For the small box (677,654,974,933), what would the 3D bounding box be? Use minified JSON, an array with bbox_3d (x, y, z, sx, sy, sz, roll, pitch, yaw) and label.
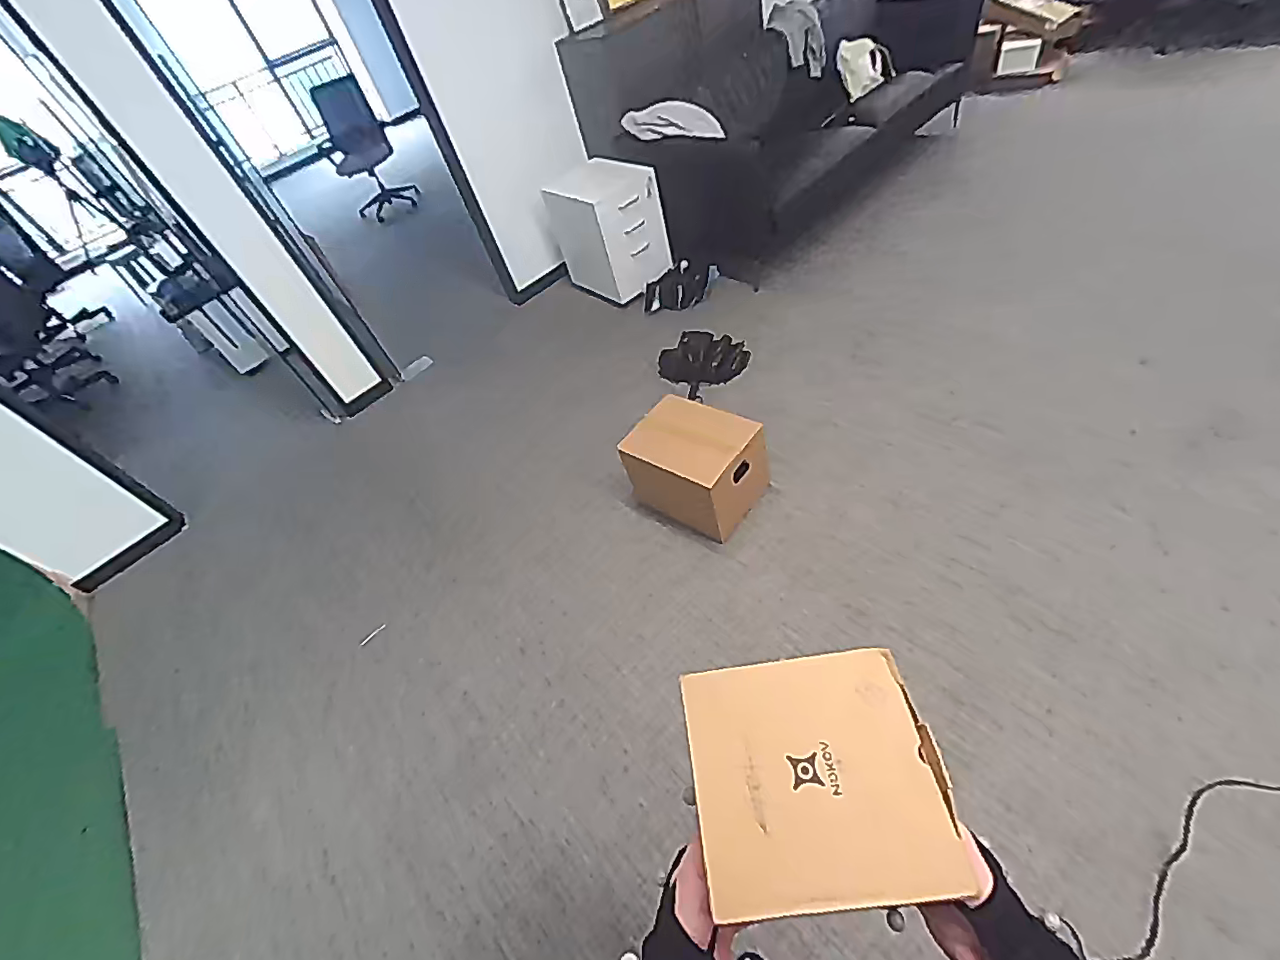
[{"bbox_3d":[0.135,0.267,0.461,0.179,0.176,0.168,-11,51,4],"label":"small box"}]
